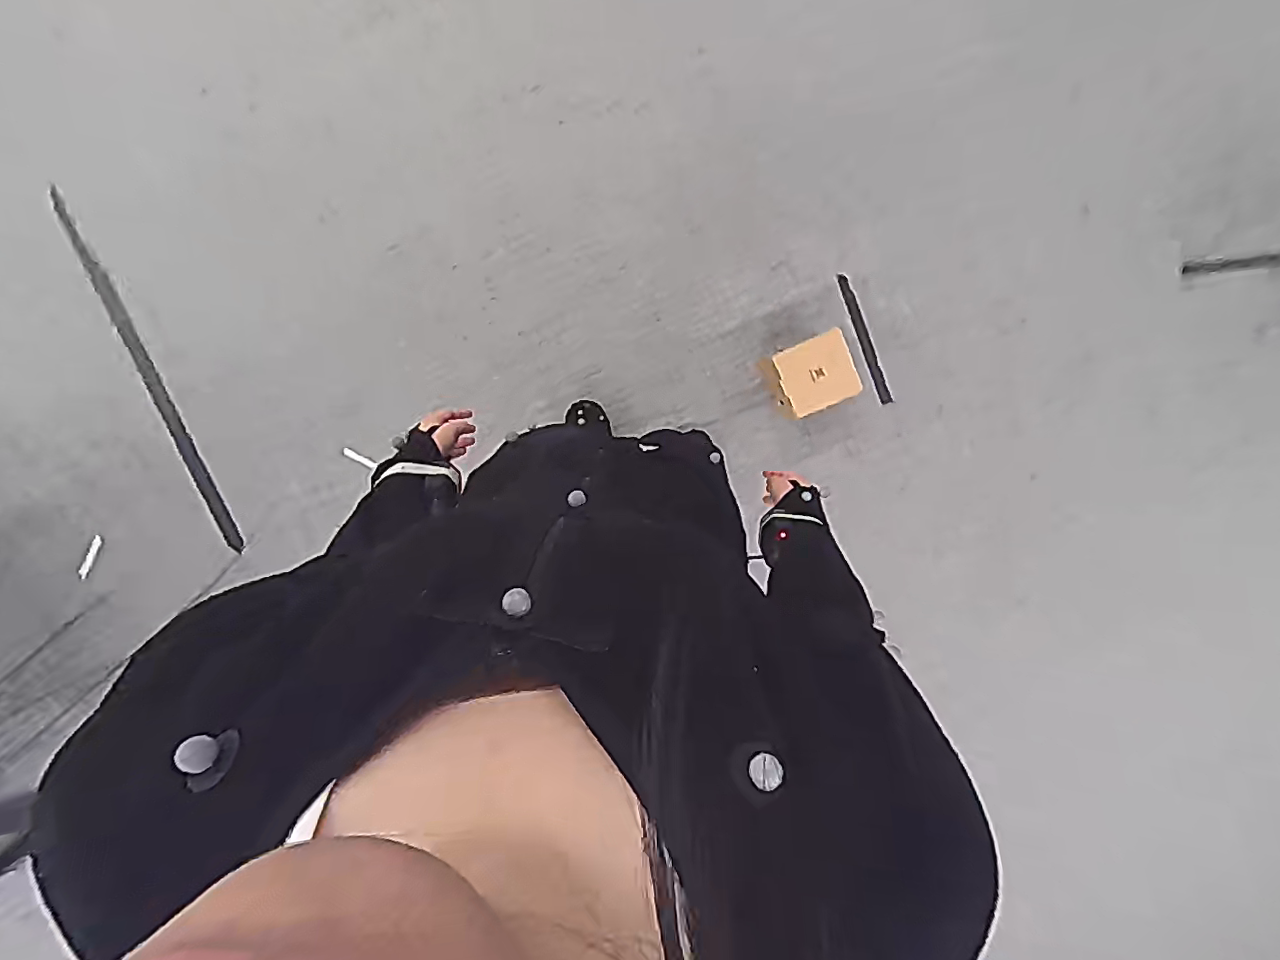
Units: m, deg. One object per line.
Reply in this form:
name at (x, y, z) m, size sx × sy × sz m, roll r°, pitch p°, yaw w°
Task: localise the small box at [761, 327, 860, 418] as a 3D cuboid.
small box at (0.420, -0.268, 1.375) m, size 0.179 × 0.176 × 0.168 m, roll -24°, pitch 99°, yaw 3°
